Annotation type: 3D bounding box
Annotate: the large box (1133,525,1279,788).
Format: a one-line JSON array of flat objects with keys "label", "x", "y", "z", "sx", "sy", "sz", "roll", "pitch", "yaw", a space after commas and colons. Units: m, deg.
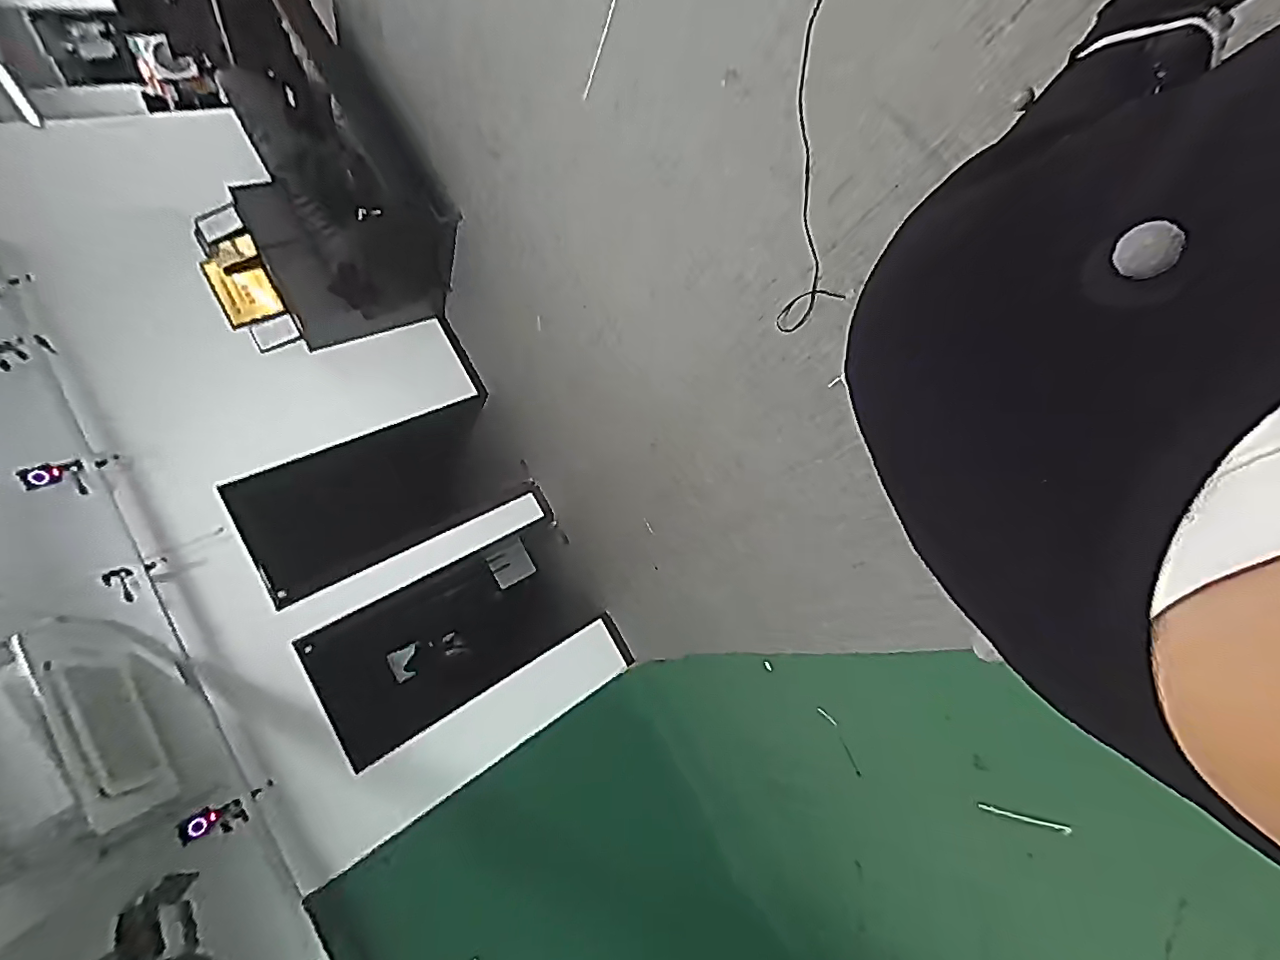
[{"label": "large box", "x": 1.127, "y": 0.298, "z": 0.837, "sx": 0.408, "sy": 0.320, "sz": 0.320, "roll": 50, "pitch": 150, "yaw": 18}]
